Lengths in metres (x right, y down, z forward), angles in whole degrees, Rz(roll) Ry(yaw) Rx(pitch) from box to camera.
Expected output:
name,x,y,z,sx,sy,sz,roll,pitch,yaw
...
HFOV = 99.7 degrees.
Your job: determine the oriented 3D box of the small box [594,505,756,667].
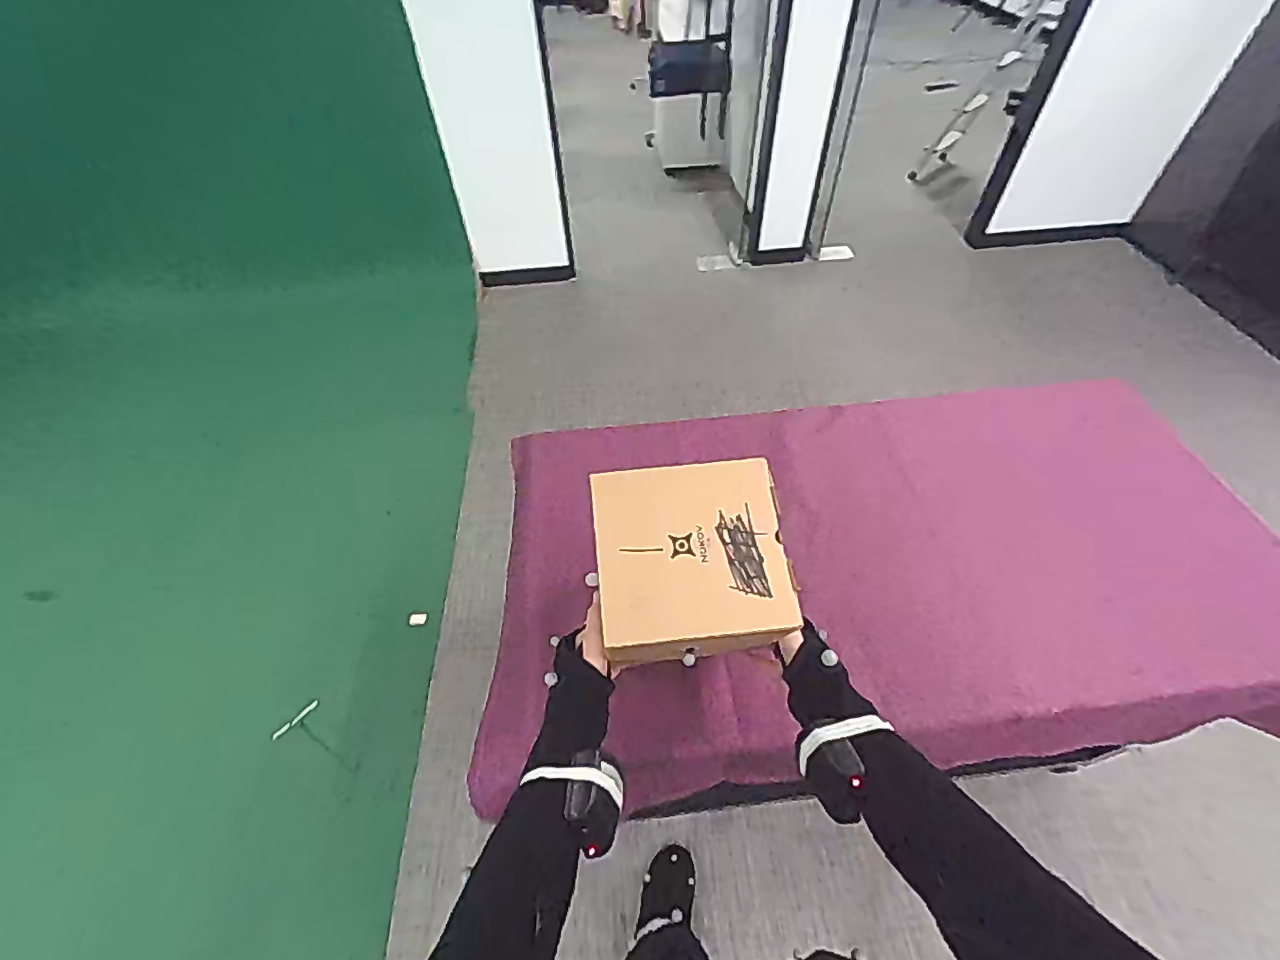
name,x,y,z,sx,sy,sz,roll,pitch,yaw
small box,0.037,0.149,0.732,0.179,0.176,0.168,-9,66,-4
